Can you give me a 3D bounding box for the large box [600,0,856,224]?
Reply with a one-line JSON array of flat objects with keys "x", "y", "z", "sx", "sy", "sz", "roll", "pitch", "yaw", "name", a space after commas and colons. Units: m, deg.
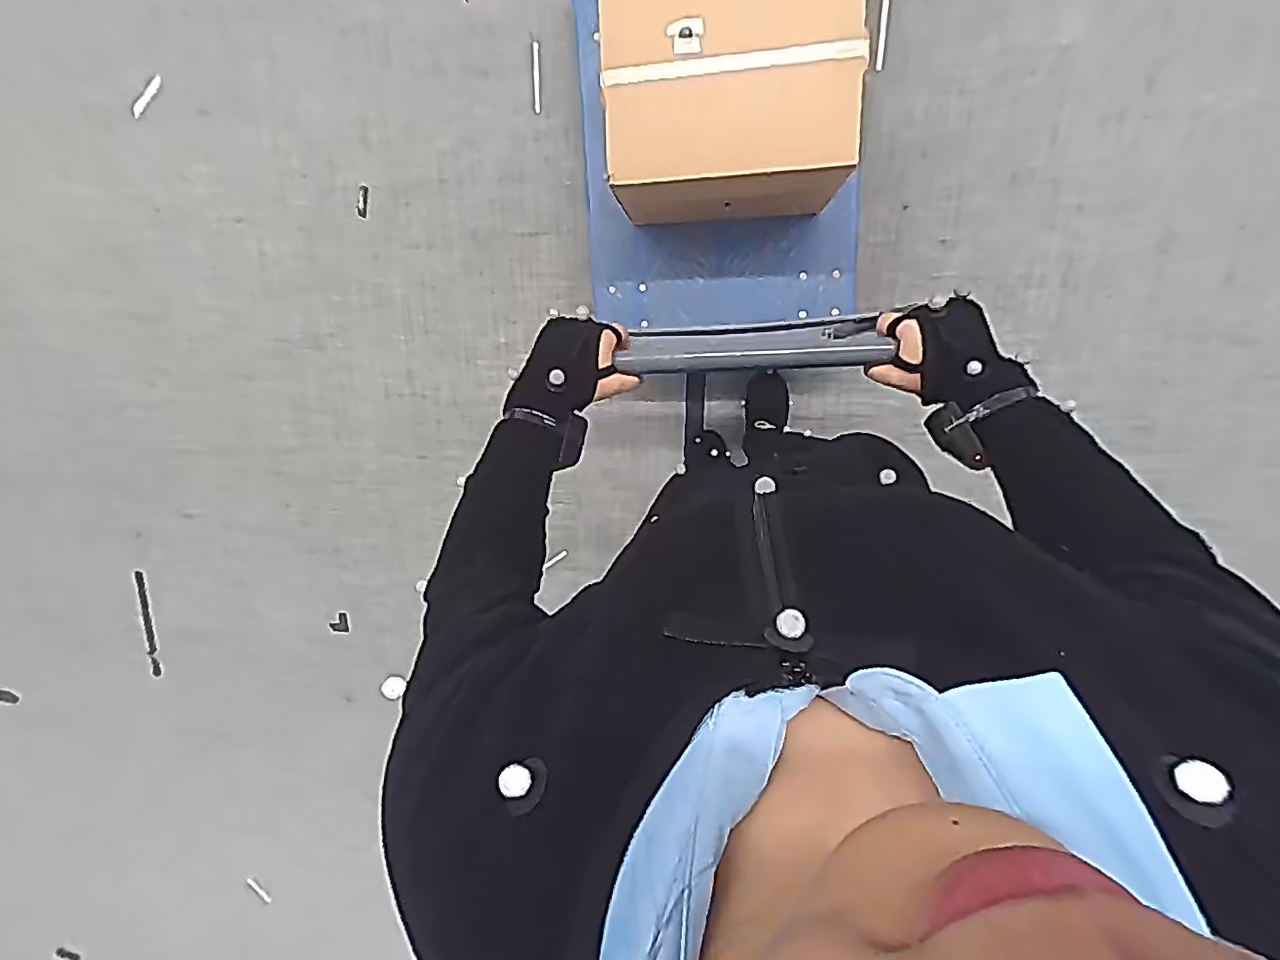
[{"x": 0.162, "y": -0.690, "z": 1.011, "sx": 0.408, "sy": 0.320, "sz": 0.320, "roll": -1, "pitch": 102, "yaw": 9, "name": "large box"}]
